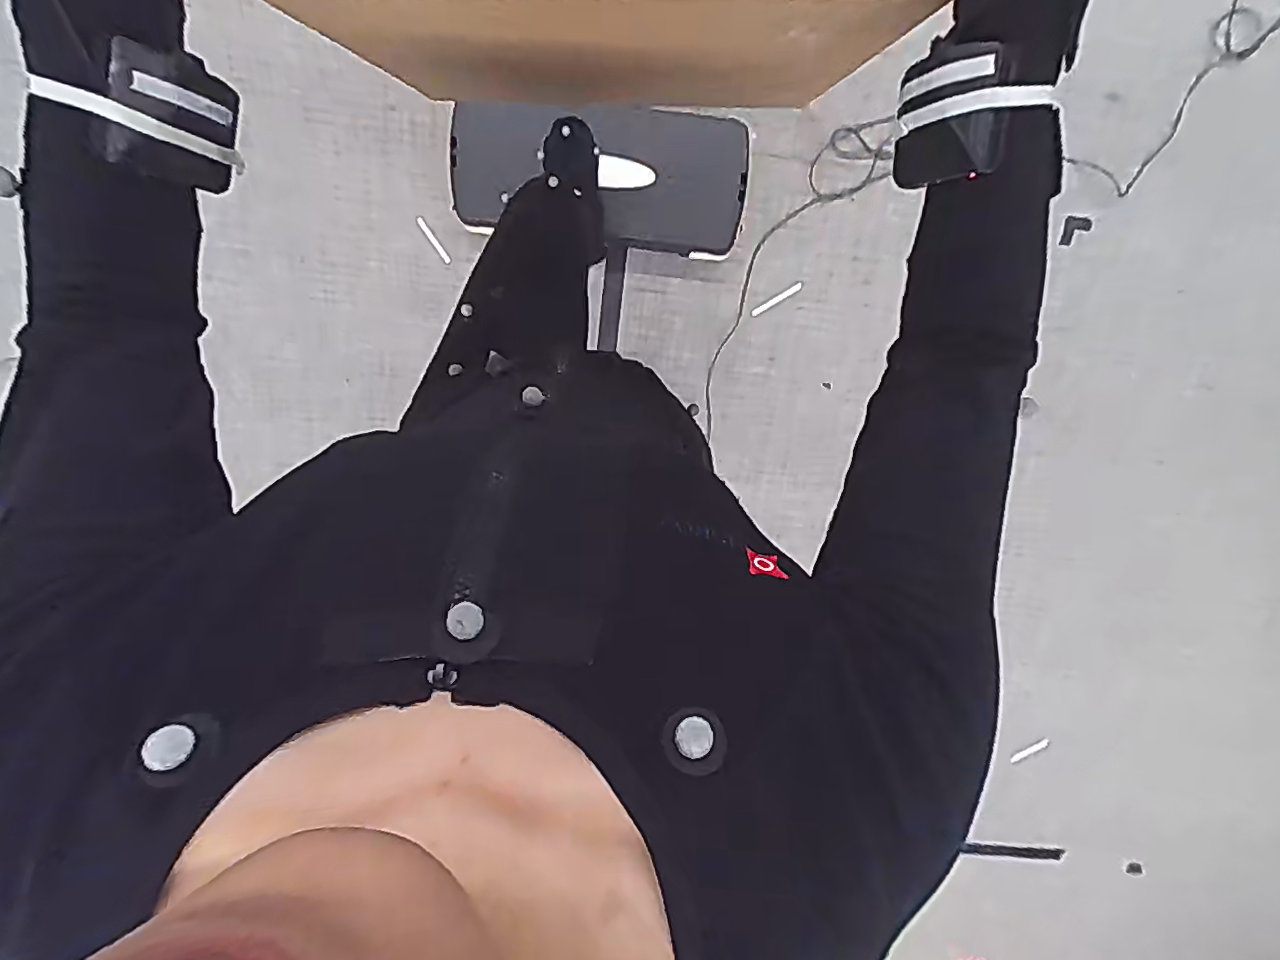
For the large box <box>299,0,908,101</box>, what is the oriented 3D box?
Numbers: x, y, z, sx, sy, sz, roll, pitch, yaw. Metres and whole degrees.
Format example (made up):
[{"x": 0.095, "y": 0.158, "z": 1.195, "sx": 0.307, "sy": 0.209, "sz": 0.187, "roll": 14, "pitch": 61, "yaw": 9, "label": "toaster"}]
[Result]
[{"x": -0.022, "y": -0.487, "z": 0.382, "sx": 0.408, "sy": 0.320, "sz": 0.320, "roll": 0, "pitch": 116, "yaw": -1, "label": "large box"}]
